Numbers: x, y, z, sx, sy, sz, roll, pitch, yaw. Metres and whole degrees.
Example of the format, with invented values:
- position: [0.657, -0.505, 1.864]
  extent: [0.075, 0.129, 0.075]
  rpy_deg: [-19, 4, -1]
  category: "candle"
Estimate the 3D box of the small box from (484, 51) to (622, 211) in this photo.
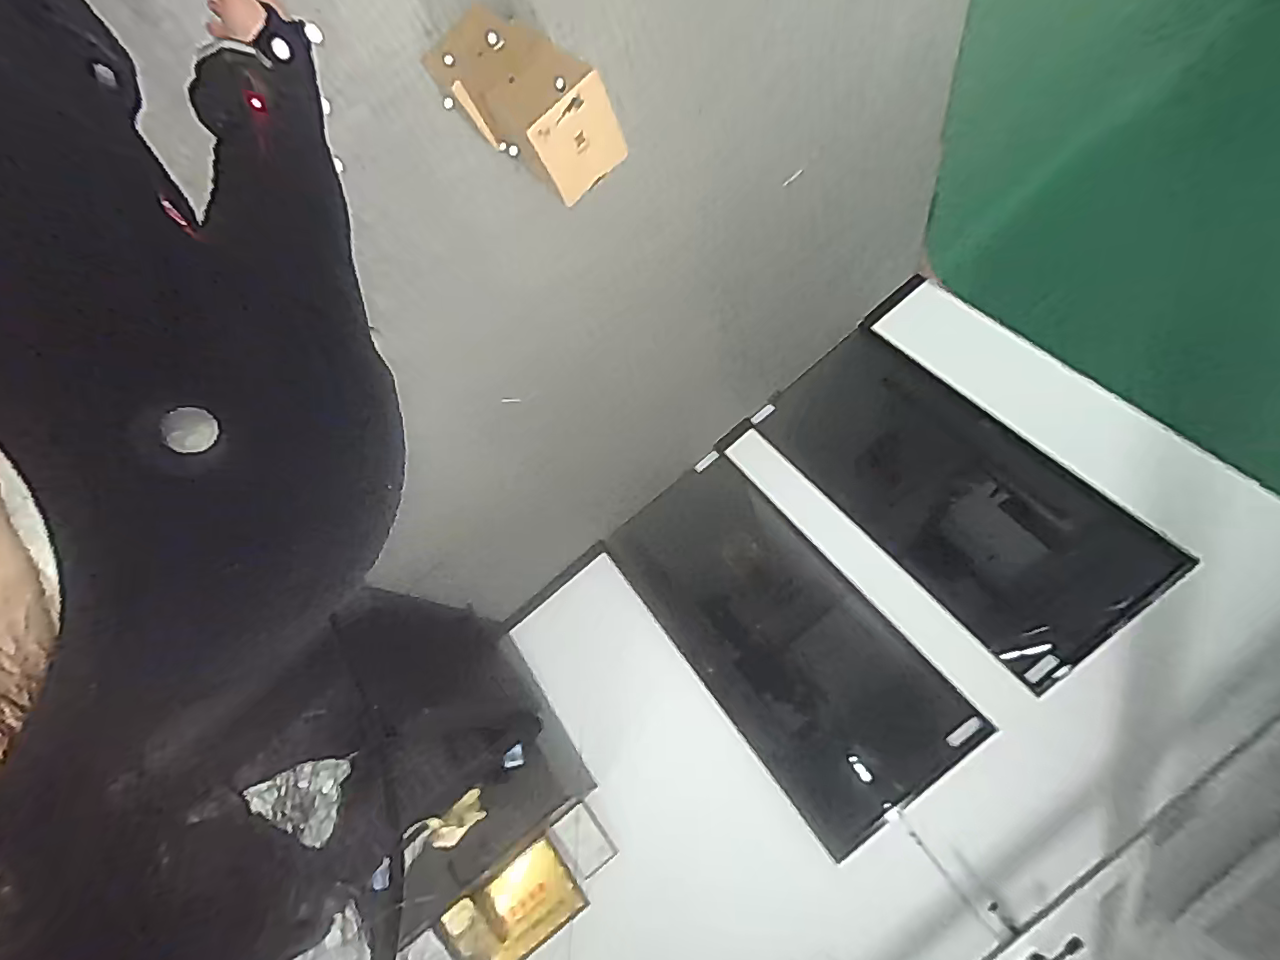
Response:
- position: [-0.167, -0.679, 1.054]
  extent: [0.168, 0.176, 0.179]
  rpy_deg: [-41, 154, 1]
  category: "small box"

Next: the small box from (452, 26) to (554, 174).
- position: [-0.254, -0.793, 1.134]
  extent: [0.168, 0.176, 0.179]
  rpy_deg: [-41, 152, 0]
  category: "small box"
